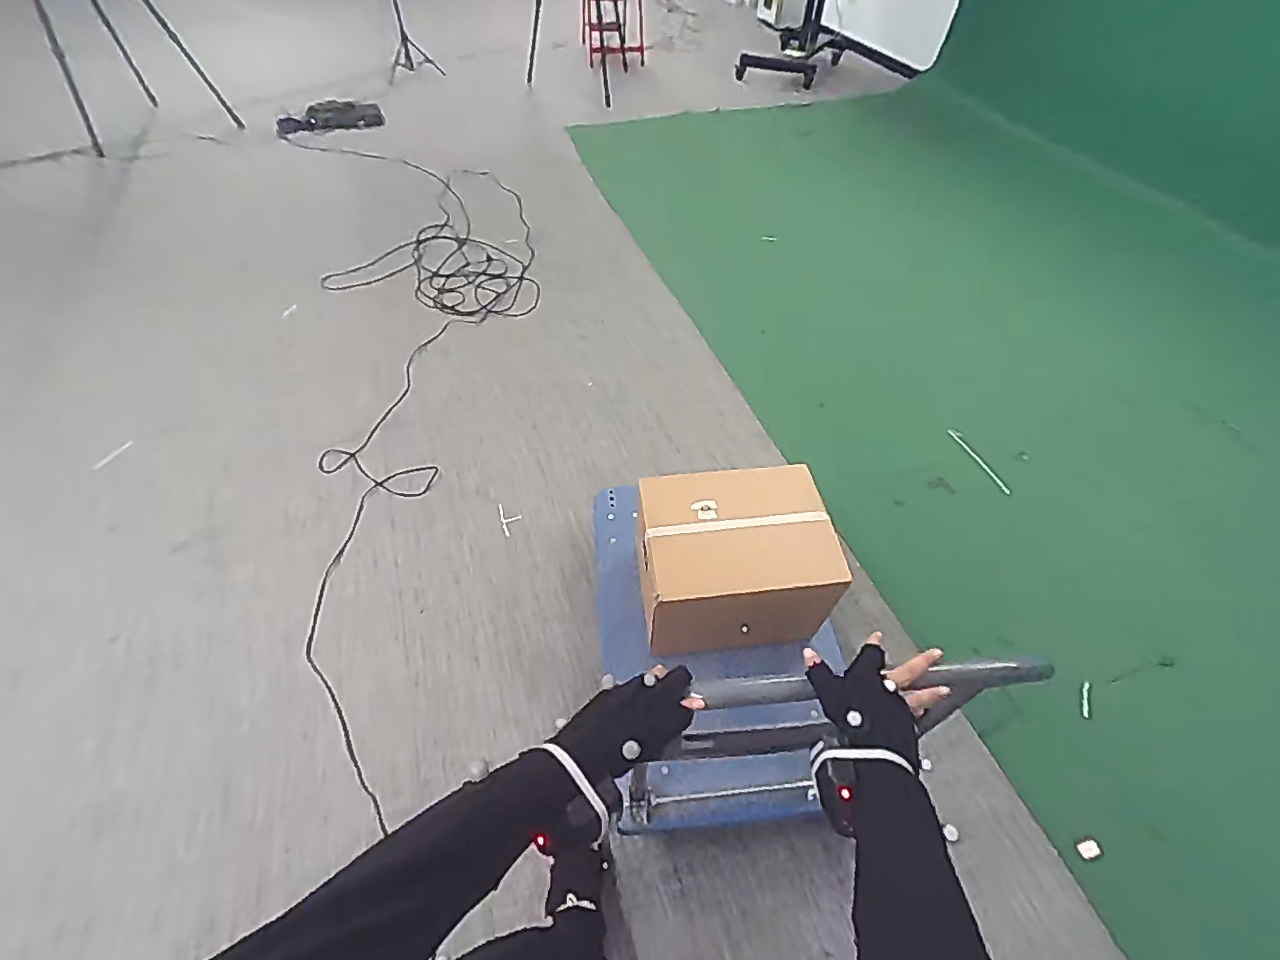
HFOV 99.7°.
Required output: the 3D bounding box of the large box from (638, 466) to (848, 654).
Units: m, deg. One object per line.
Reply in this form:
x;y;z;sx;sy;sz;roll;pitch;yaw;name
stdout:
0.214;0.196;1.298;0.408;0.320;0.320;-6;52;-5;large box
